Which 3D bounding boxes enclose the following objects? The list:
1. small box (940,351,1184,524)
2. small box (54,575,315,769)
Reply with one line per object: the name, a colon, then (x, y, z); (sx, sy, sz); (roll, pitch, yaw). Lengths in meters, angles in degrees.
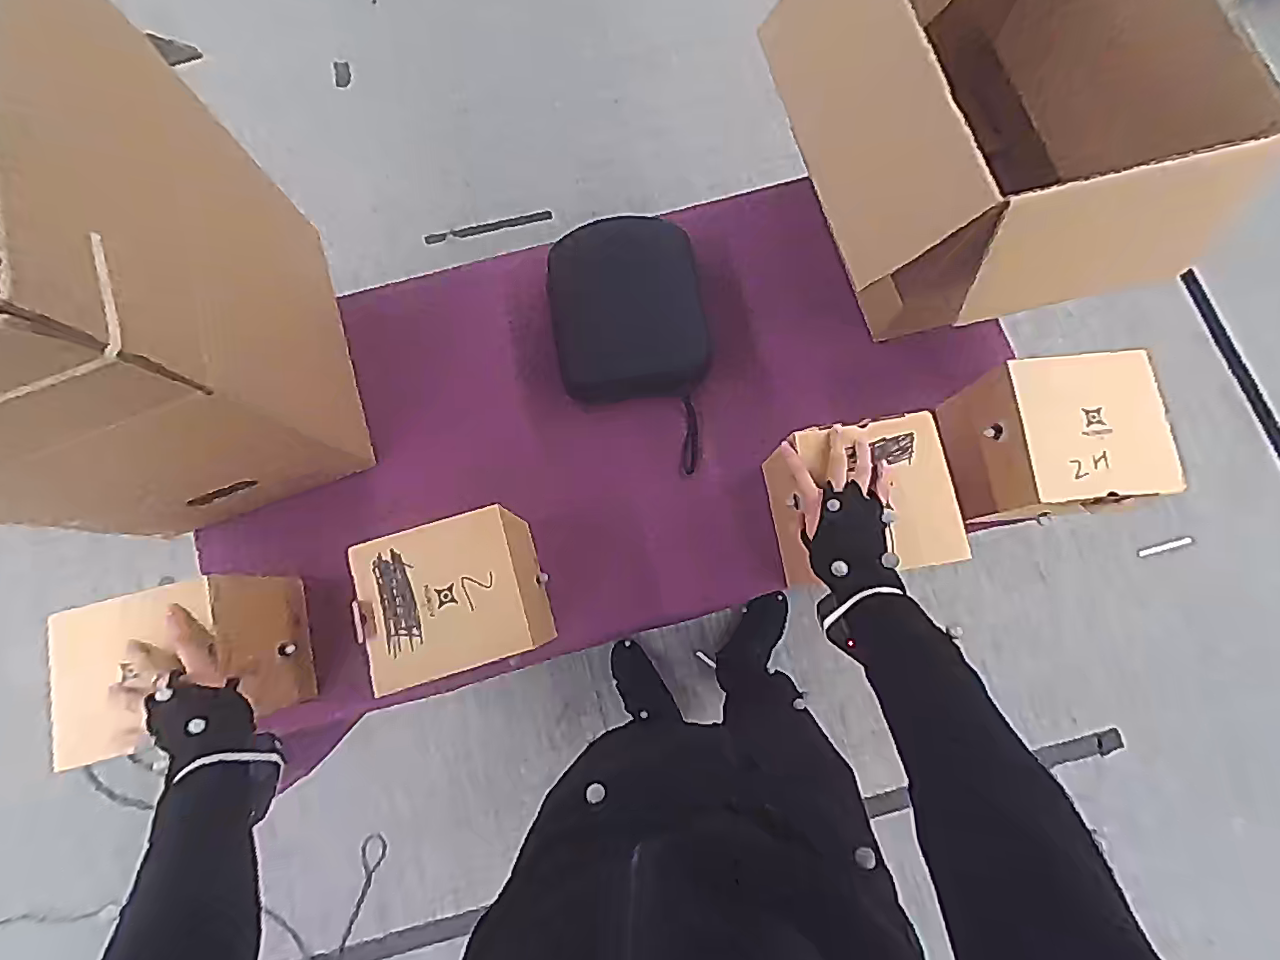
small box: (0.516, -0.046, 0.694); (0.168, 0.176, 0.179); (-4, 78, 1)
small box: (-0.535, 0.220, 0.655); (0.179, 0.176, 0.168); (-14, 78, -3)
